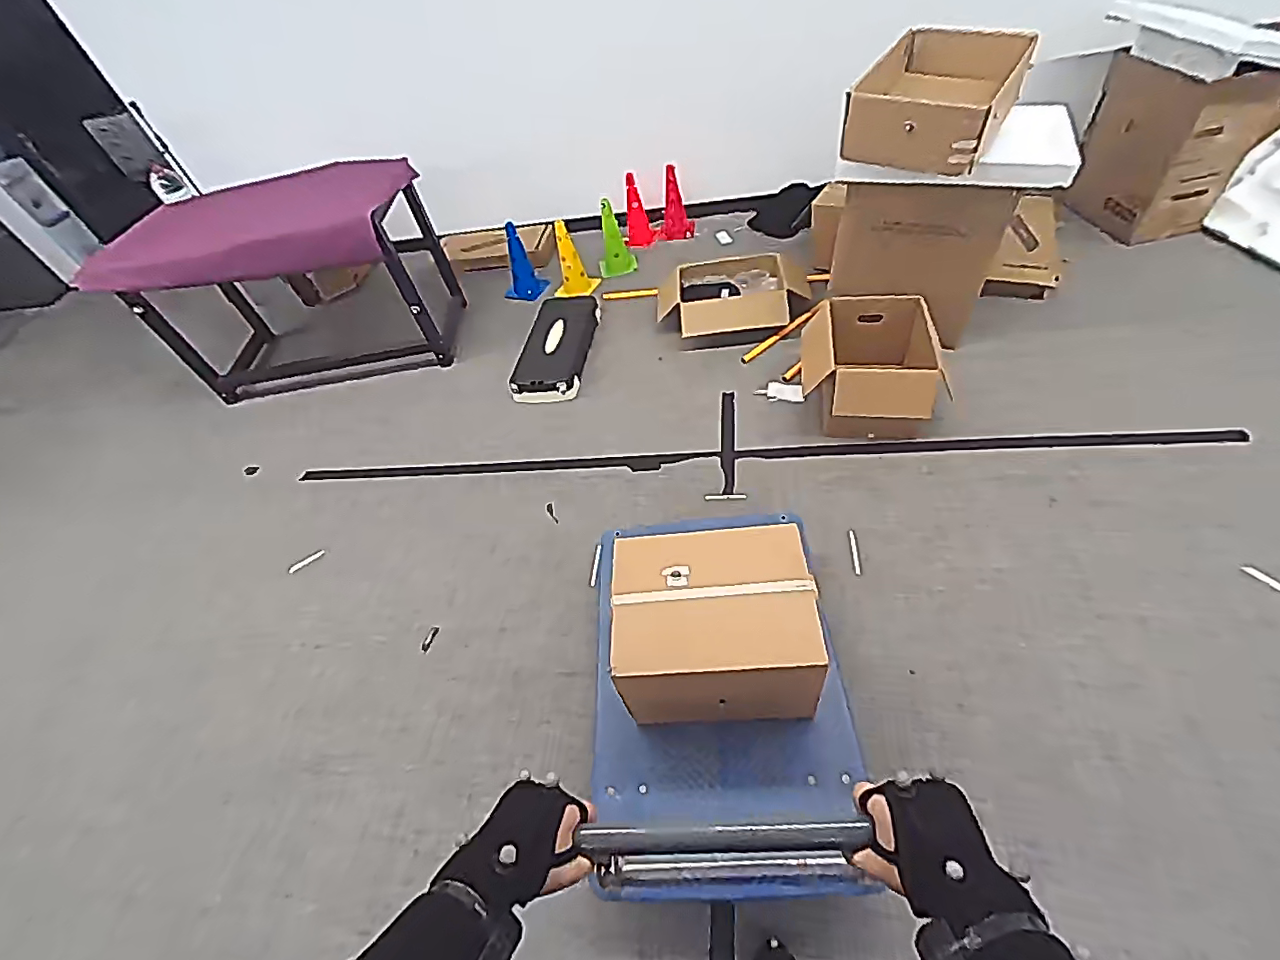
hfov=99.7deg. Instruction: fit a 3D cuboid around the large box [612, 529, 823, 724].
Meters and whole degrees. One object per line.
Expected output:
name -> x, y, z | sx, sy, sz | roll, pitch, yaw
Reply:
large box -> 0.166, 0.341, 1.222 | 0.408, 0.320, 0.320 | -7, 49, 7
